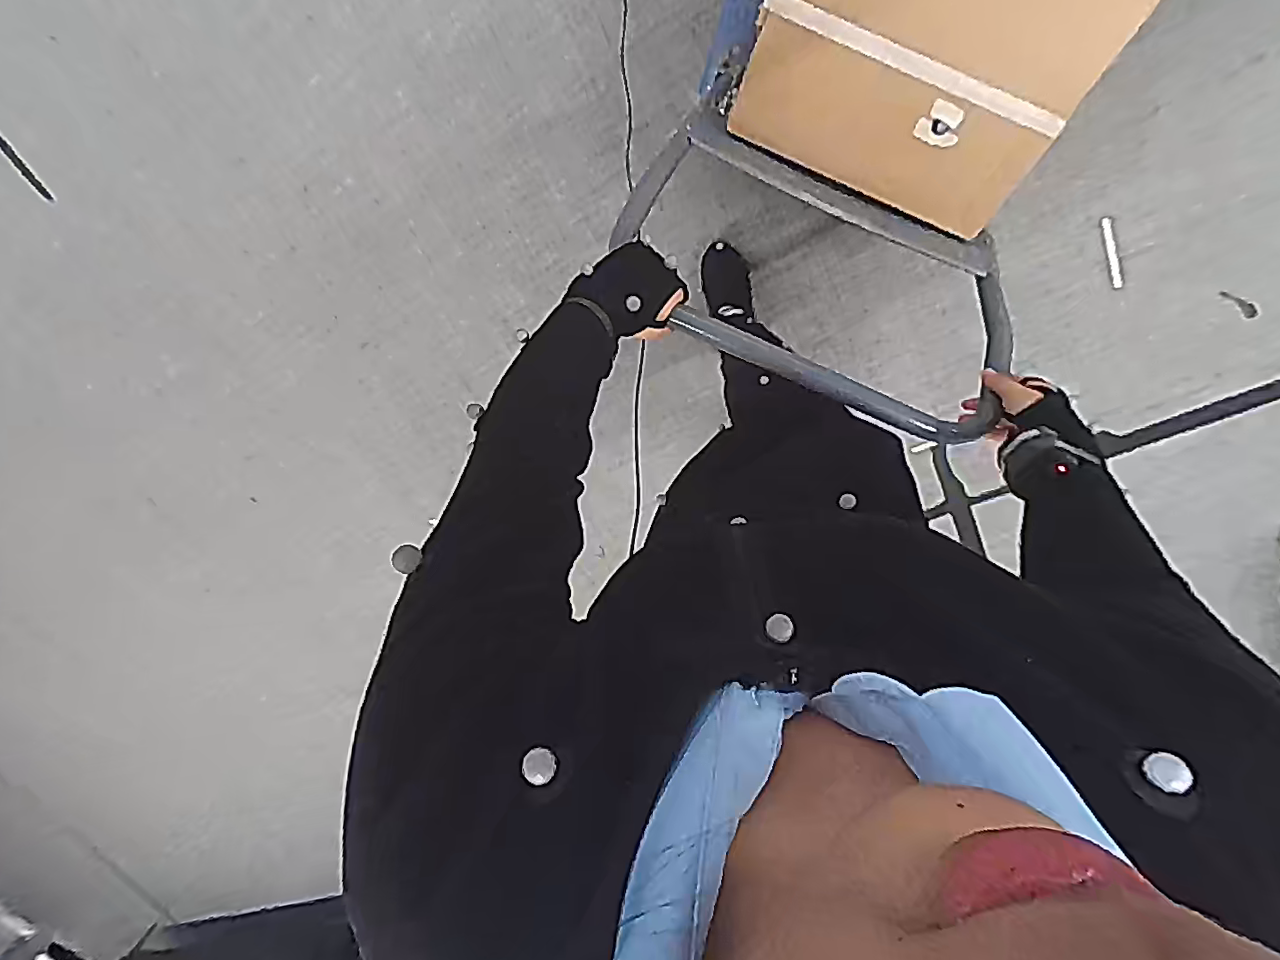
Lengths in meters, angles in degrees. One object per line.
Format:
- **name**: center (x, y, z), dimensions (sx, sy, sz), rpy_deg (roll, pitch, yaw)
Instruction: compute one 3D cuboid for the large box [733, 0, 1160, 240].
- **large box**: center (0.396, -0.628, 0.794), dimensions (0.408, 0.320, 0.320), rpy_deg (23, 138, -2)
